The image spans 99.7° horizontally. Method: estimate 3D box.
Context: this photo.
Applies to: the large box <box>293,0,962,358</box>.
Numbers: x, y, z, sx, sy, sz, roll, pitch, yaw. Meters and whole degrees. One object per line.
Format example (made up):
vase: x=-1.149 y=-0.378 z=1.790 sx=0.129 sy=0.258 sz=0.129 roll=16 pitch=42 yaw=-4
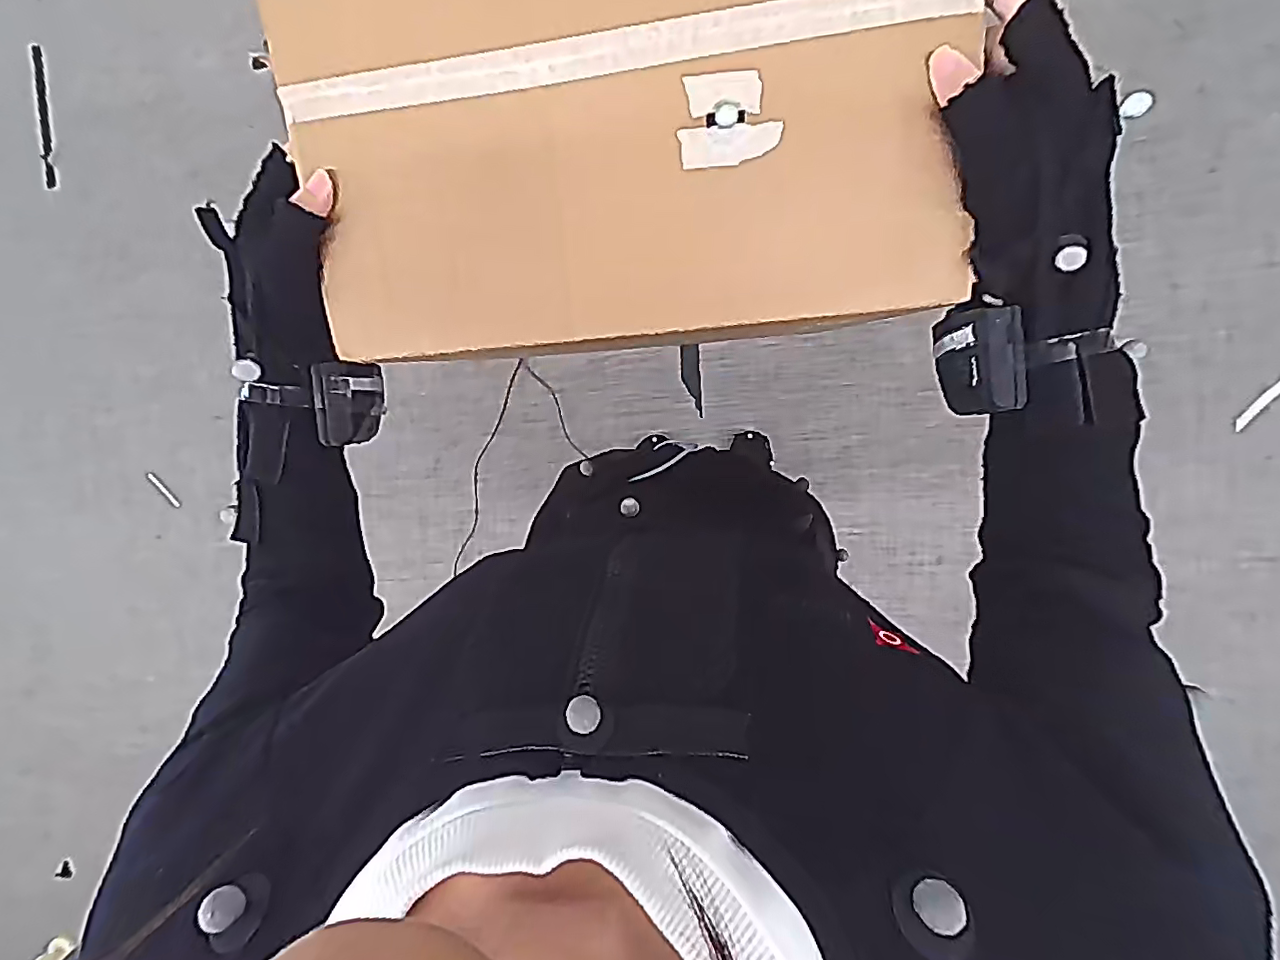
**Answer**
large box: x=-0.002 y=-0.285 z=0.471 sx=0.408 sy=0.320 sz=0.320 roll=-4 pitch=103 yaw=7
